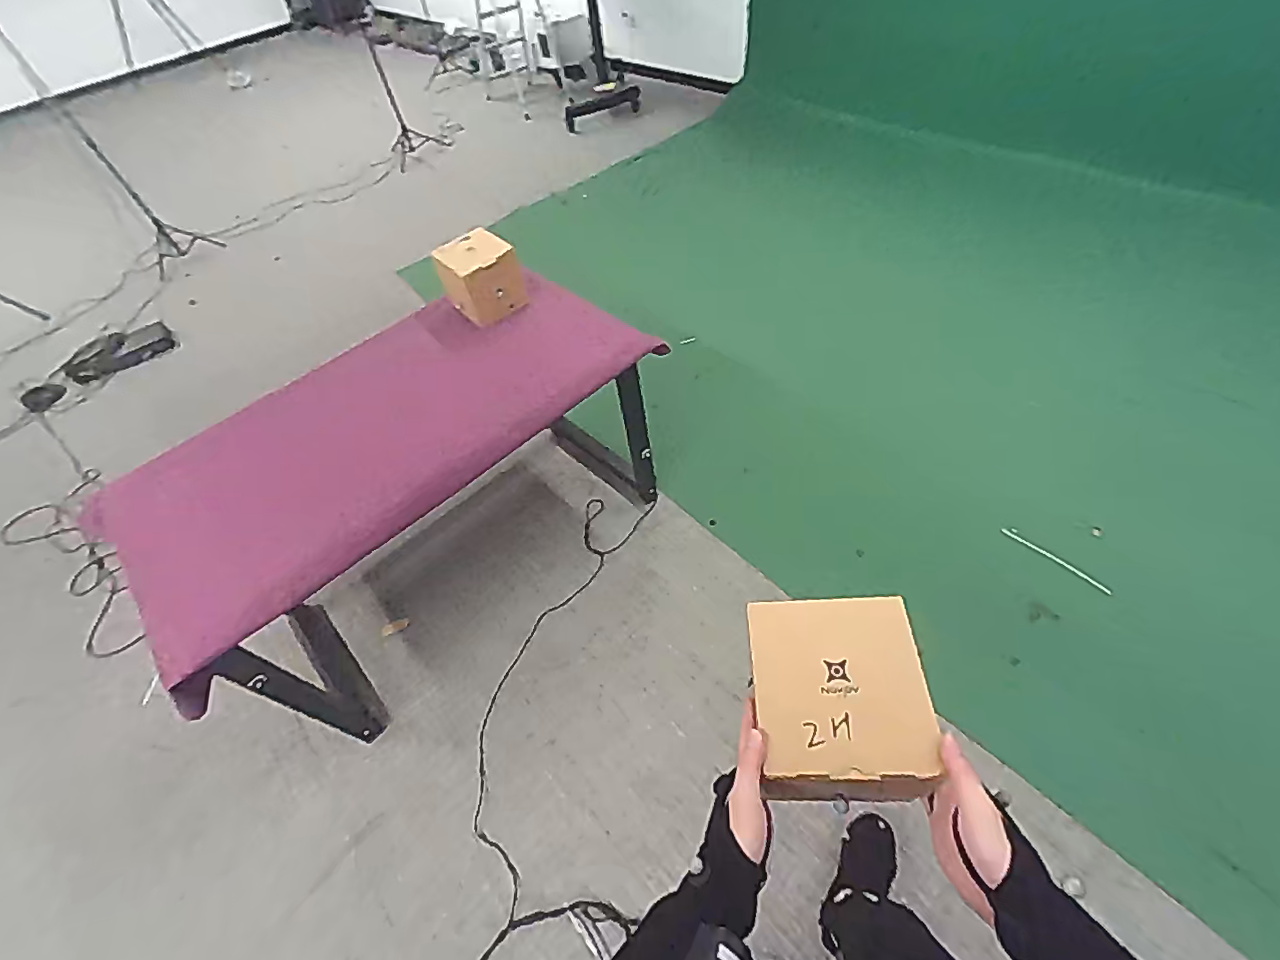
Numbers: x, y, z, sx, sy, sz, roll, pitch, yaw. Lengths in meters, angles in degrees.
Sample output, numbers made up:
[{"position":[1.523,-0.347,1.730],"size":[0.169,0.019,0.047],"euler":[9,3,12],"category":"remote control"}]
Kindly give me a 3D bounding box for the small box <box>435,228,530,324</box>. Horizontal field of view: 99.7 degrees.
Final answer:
[{"position":[-0.431,-0.560,1.504],"size":[0.168,0.176,0.179],"euler":[-38,59,-20],"category":"small box"}]

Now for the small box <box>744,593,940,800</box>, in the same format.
[{"position":[0.204,0.244,0.606],"size":[0.168,0.176,0.179],"euler":[-5,52,9],"category":"small box"}]
